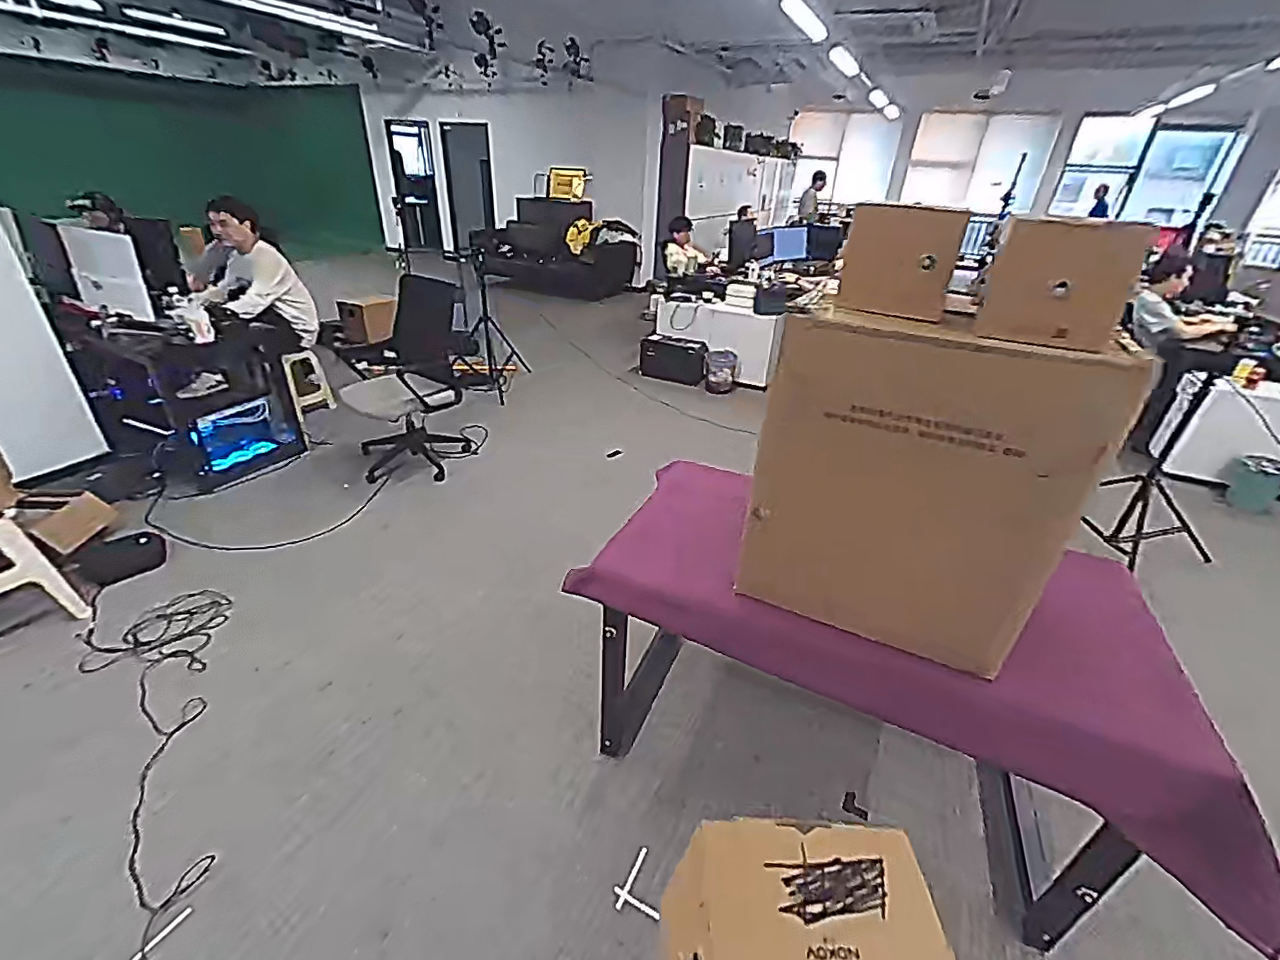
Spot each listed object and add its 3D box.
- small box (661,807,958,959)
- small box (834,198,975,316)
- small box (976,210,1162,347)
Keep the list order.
[{"bbox_3d":[0.112,0.366,0.383,0.168,0.176,0.179,6,34,-7],"label":"small box"},{"bbox_3d":[0.458,-0.390,0.944,0.179,0.176,0.168,16,32,22],"label":"small box"},{"bbox_3d":[0.630,-0.310,0.821,0.168,0.176,0.179,16,32,23],"label":"small box"}]
